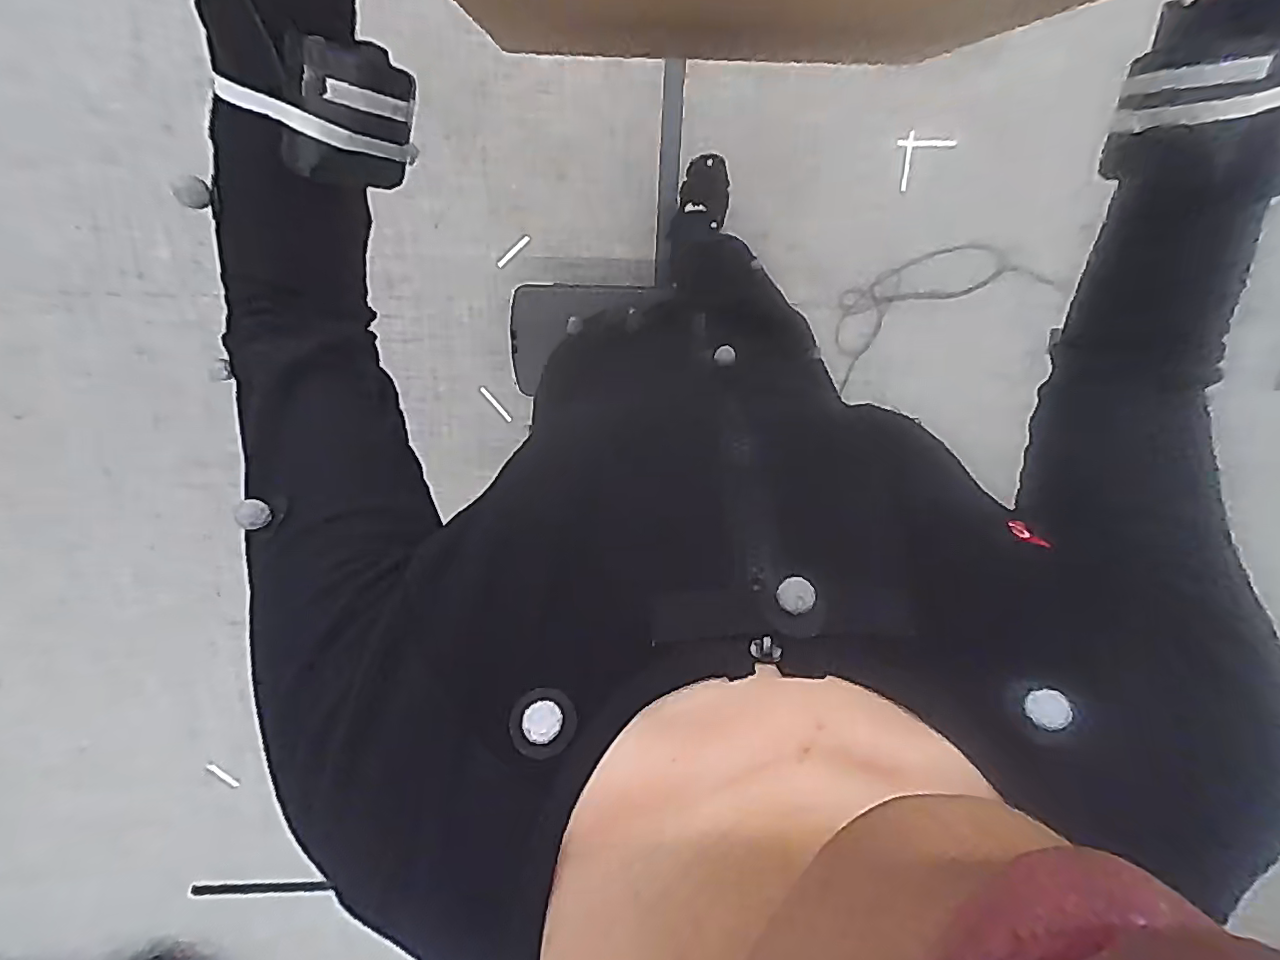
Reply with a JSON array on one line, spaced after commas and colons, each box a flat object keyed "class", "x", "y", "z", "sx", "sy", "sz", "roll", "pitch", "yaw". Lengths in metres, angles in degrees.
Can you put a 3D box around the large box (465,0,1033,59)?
[{"class": "large box", "x": 0.074, "y": -0.469, "z": 0.318, "sx": 0.408, "sy": 0.320, "sz": 0.320, "roll": -2, "pitch": 121, "yaw": -3}]
